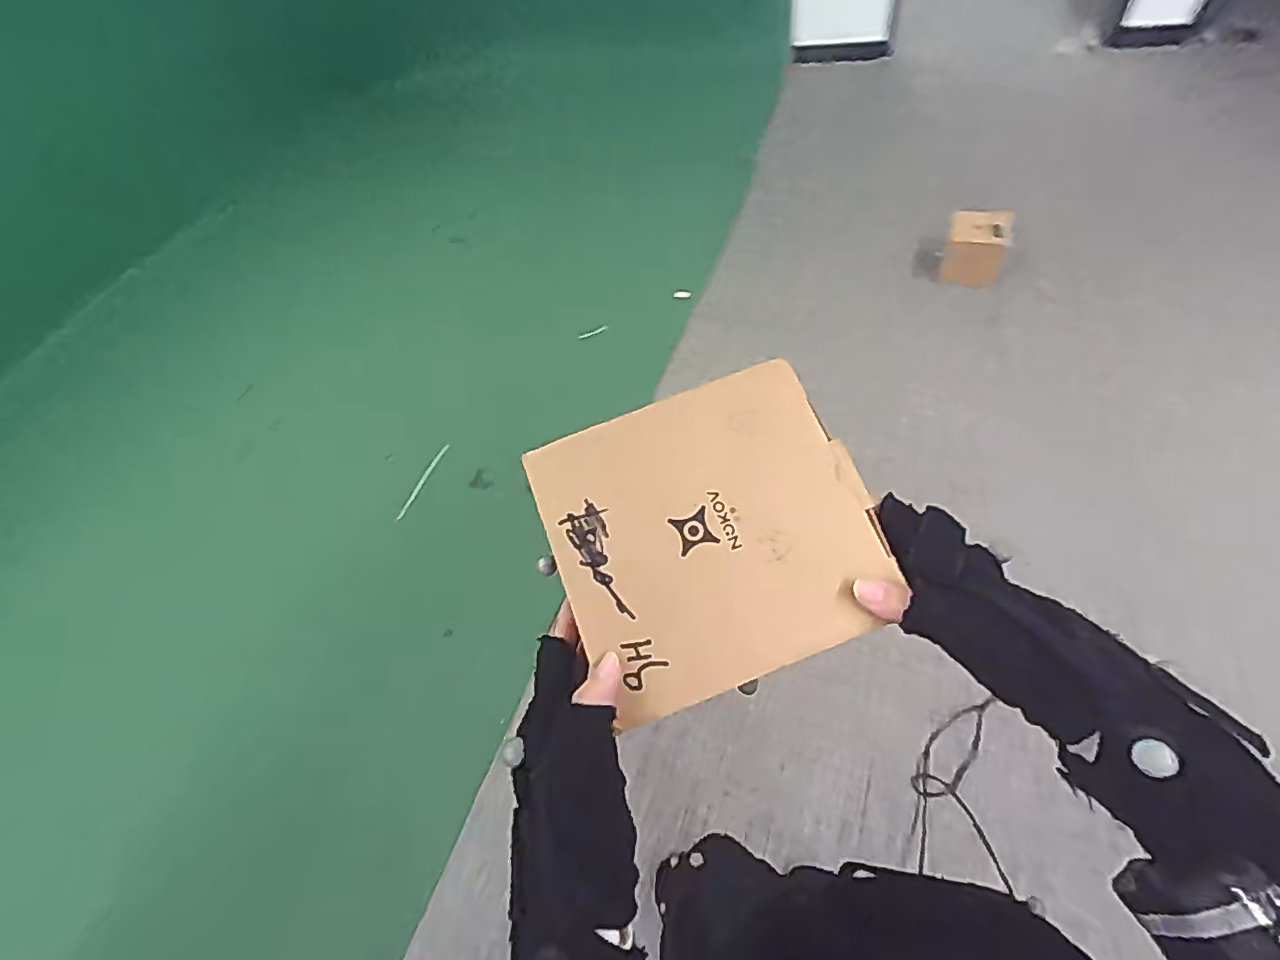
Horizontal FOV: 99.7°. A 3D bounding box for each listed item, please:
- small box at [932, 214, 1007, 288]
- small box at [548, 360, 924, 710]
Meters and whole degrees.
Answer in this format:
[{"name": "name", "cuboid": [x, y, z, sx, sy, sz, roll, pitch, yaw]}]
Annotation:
[{"name": "small box", "cuboid": [1.118, -0.774, 1.838, 0.179, 0.176, 0.168, 12, 61, 20]}, {"name": "small box", "cuboid": [0.051, 0.047, 0.386, 0.179, 0.176, 0.168, -19, 70, -4]}]
